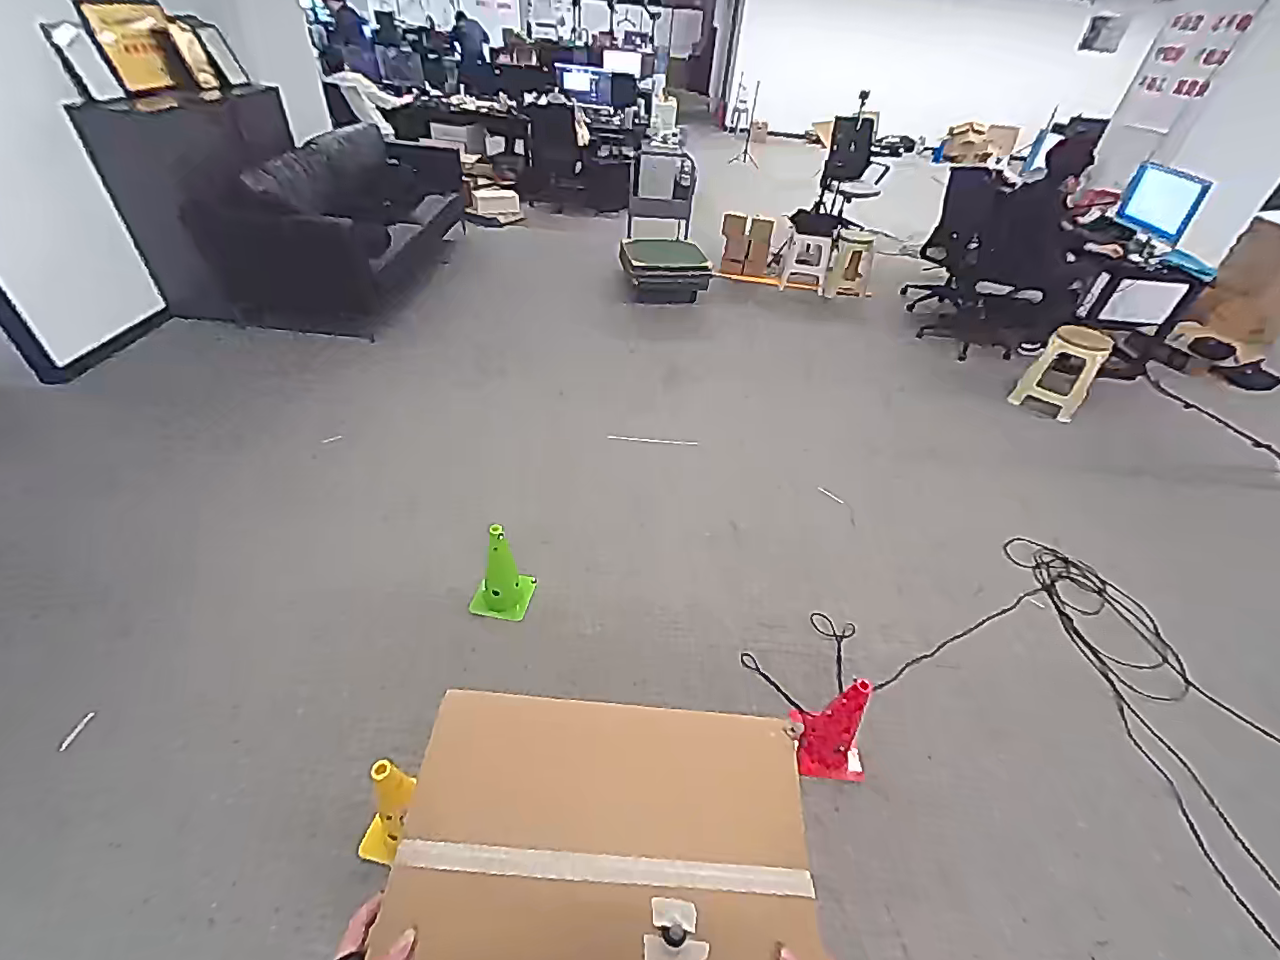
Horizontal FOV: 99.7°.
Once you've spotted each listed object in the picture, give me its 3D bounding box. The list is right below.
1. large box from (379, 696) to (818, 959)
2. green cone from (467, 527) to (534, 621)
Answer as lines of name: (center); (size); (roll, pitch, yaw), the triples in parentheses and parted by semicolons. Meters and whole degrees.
large box: (-0.044, 0.480, 0.642); (0.408, 0.320, 0.320); (5, 48, -2)
green cone: (-0.498, 0.296, 1.875); (0.200, 0.368, 0.202); (9, 42, 4)
